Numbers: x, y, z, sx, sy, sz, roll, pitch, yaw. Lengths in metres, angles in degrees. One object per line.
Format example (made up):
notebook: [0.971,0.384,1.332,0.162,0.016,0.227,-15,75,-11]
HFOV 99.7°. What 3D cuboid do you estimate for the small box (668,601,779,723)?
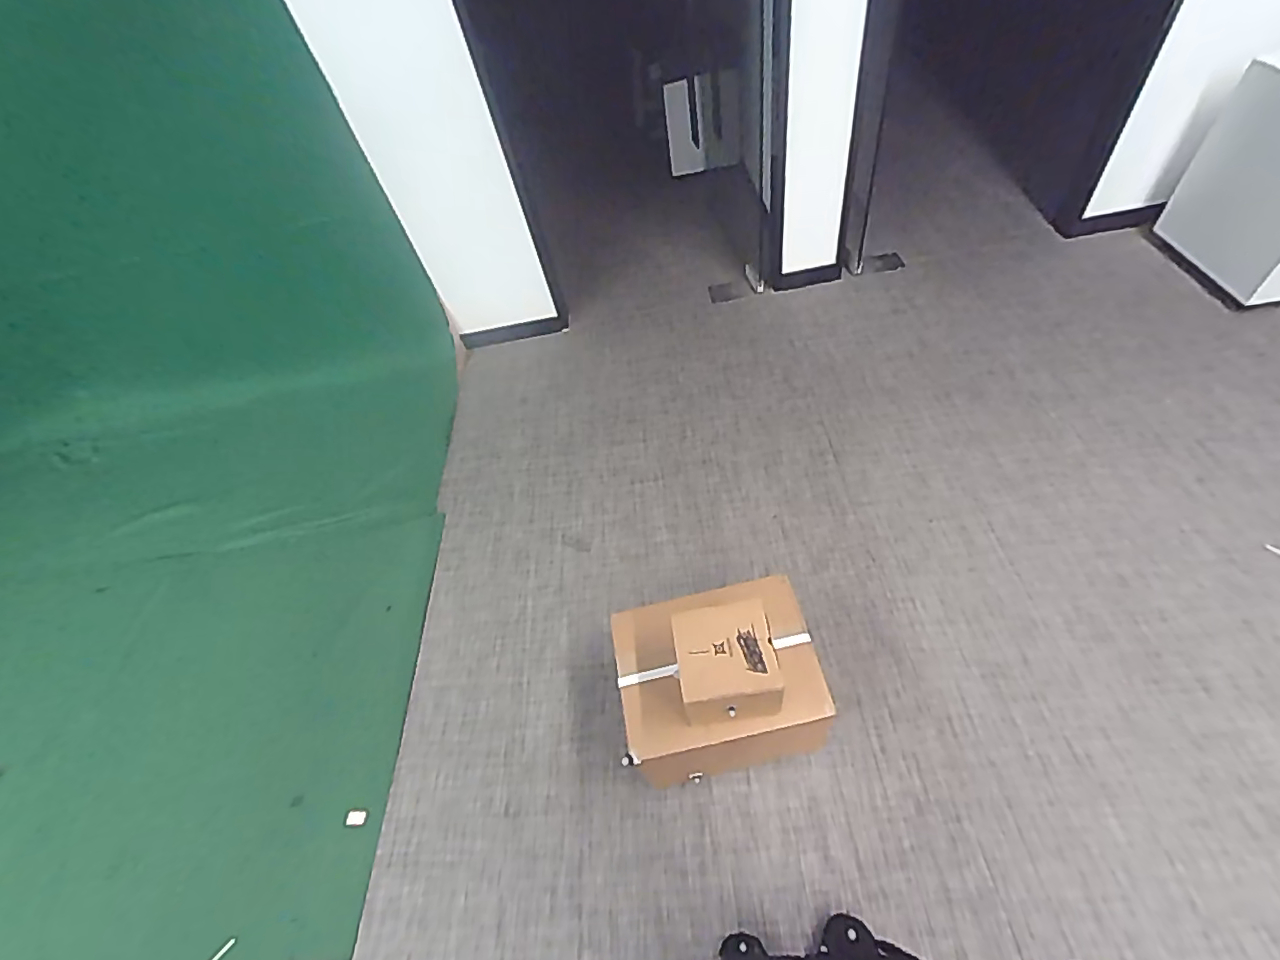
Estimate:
small box: [0.158,0.352,1.035,0.179,0.176,0.168,-11,51,4]
